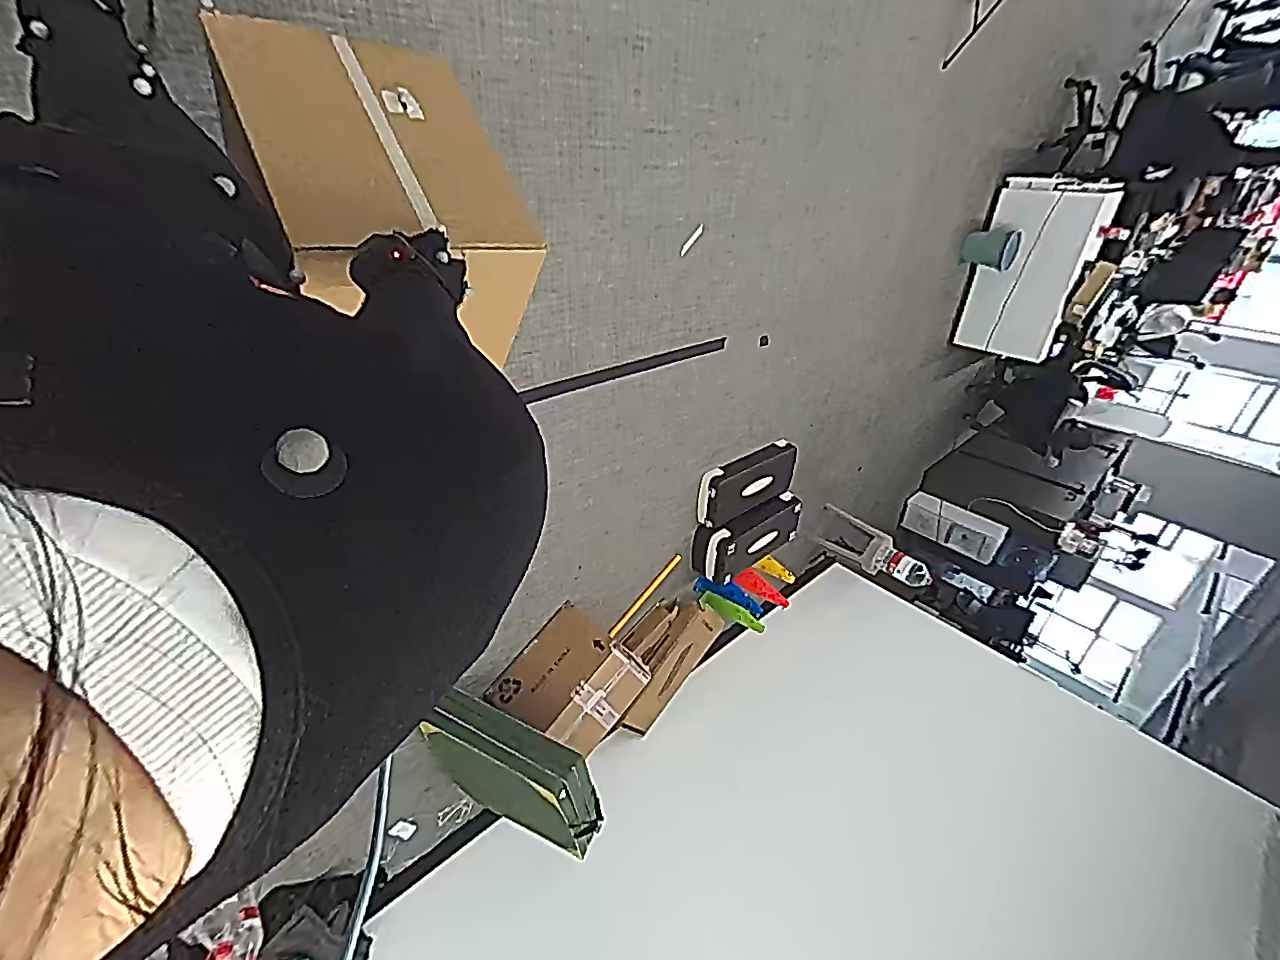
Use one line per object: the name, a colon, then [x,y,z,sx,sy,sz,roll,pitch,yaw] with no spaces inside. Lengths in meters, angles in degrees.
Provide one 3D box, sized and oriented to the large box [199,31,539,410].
large box: [-0.415,-0.377,0.844,0.320,0.408,0.320,-18,161,-37]
